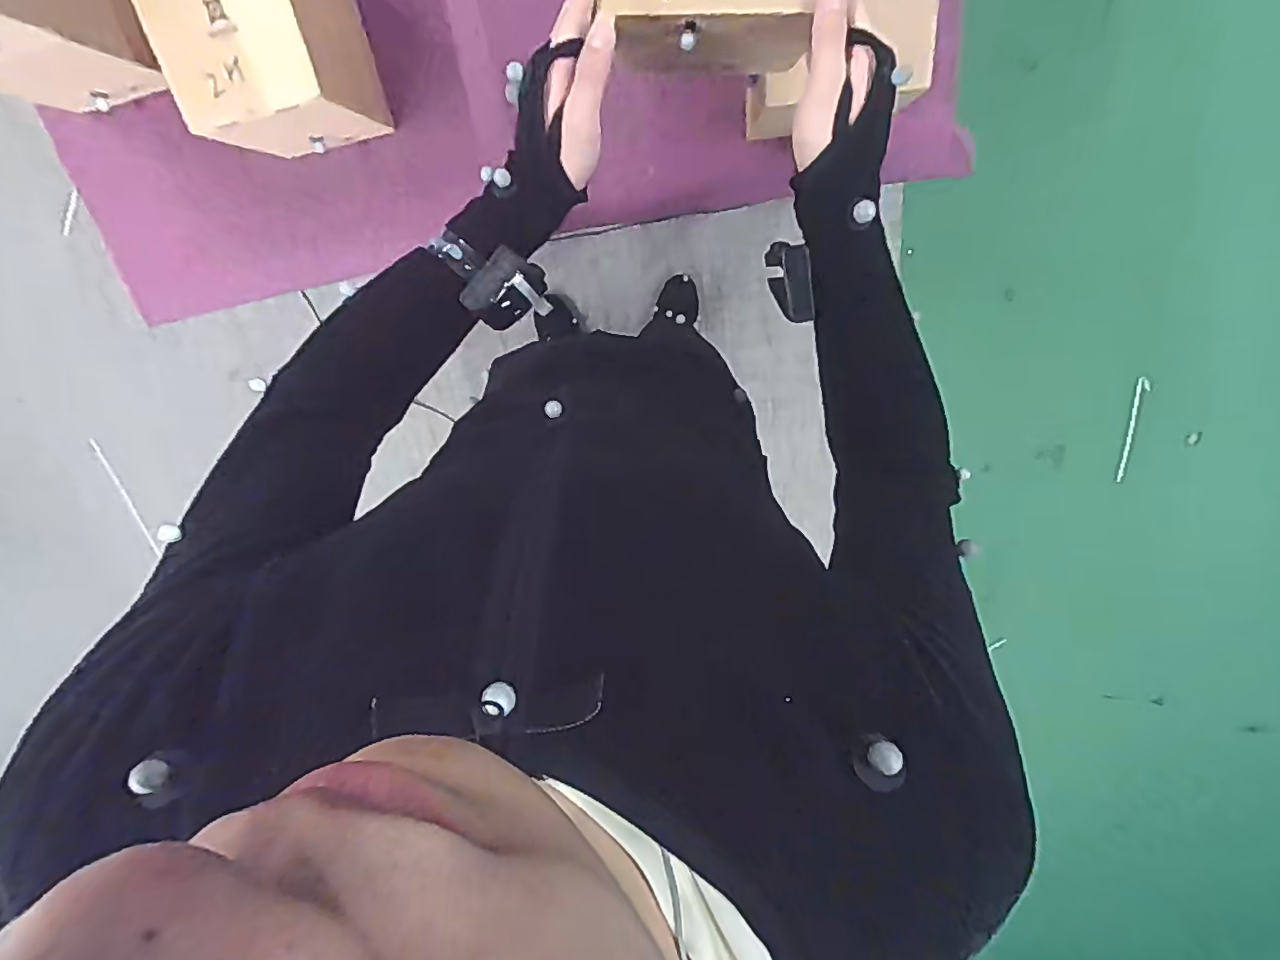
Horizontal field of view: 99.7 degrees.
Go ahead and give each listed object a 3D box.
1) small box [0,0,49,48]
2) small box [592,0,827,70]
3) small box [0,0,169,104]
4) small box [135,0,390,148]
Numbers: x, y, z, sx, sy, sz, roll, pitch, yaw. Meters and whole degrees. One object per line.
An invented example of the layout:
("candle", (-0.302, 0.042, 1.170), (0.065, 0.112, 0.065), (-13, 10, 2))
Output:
("small box", (-0.711, -0.505, 0.470), (0.168, 0.176, 0.179), (-10, 113, 8))
("small box", (0.053, -0.436, 0.405), (0.168, 0.176, 0.179), (3, 117, 4))
("small box", (-0.703, -0.569, 0.620), (0.168, 0.176, 0.179), (-9, 113, 8))
("small box", (-0.428, -0.512, 0.627), (0.168, 0.176, 0.179), (-8, 113, 7))
